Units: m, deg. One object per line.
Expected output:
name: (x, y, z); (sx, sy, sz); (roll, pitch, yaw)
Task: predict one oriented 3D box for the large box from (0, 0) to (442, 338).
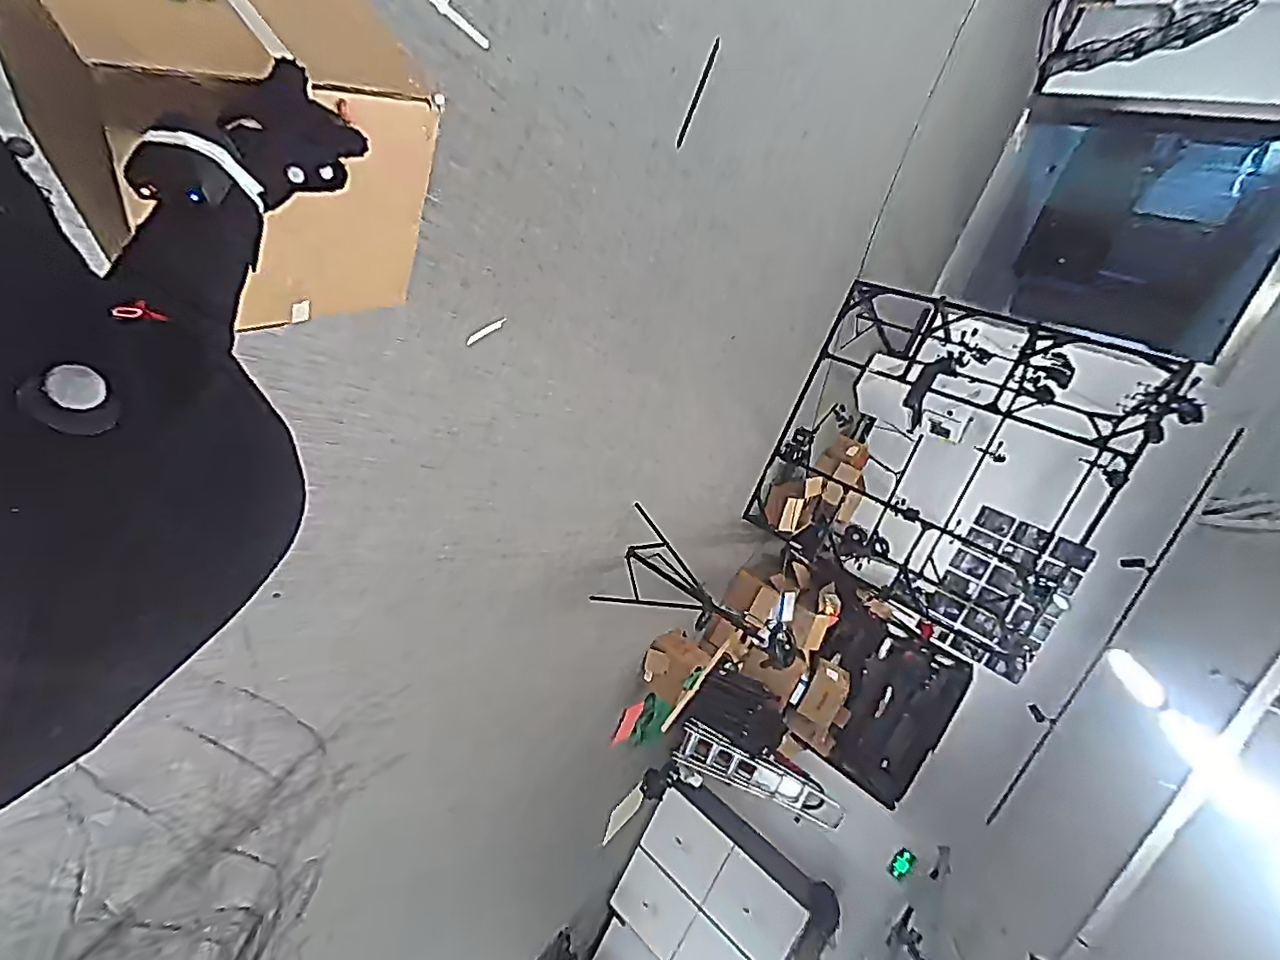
large box: (-0.520, -0.452, 0.670); (0.320, 0.408, 0.320); (-31, 169, -41)
